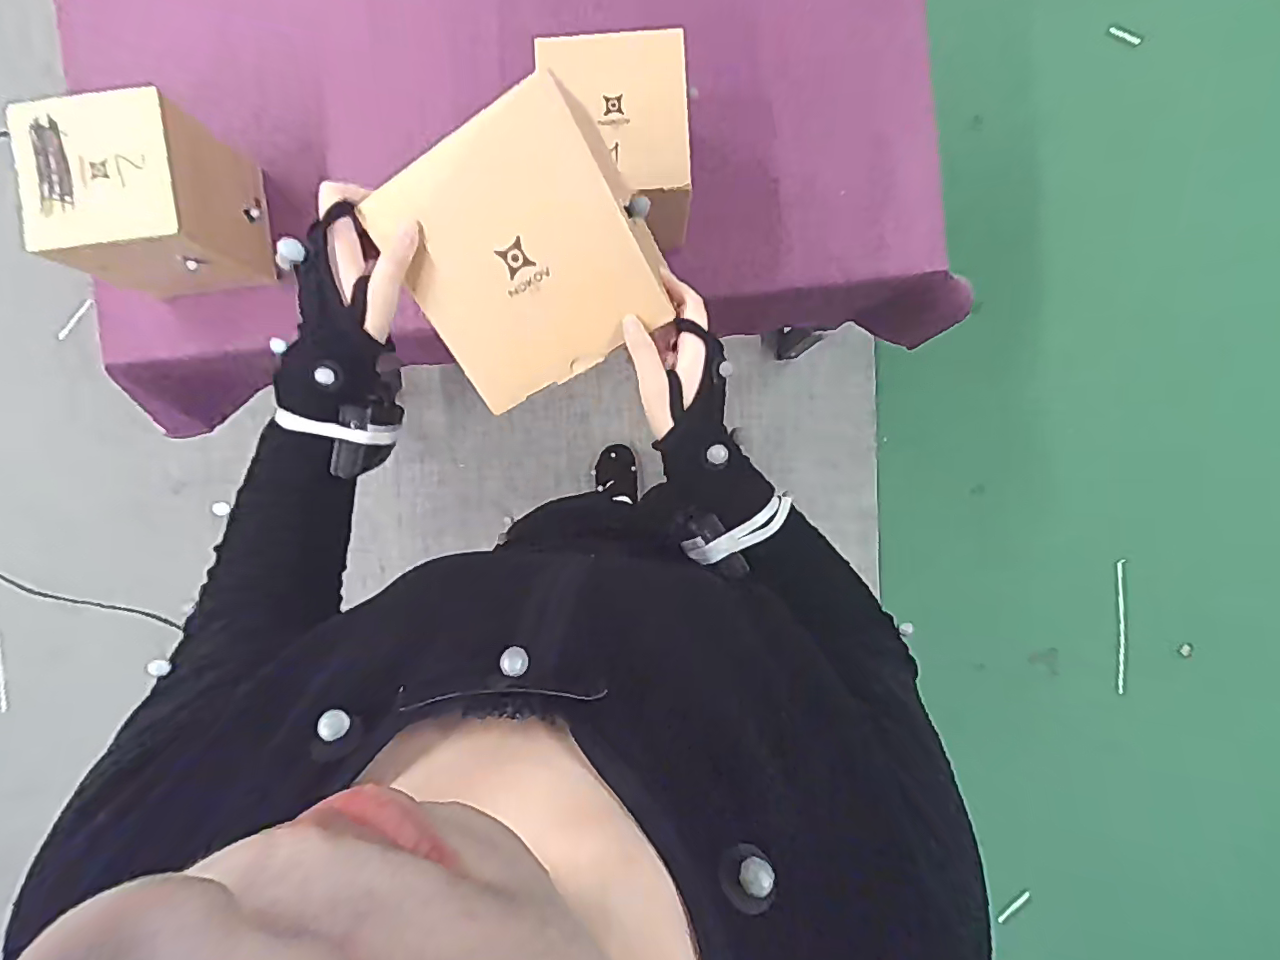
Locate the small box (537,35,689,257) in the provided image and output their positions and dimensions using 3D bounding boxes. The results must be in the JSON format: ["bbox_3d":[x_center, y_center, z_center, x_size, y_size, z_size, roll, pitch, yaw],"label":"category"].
[{"bbox_3d":[-0.029,-0.400,0.673,0.168,0.176,0.179,-3,92,1],"label":"small box"}]
